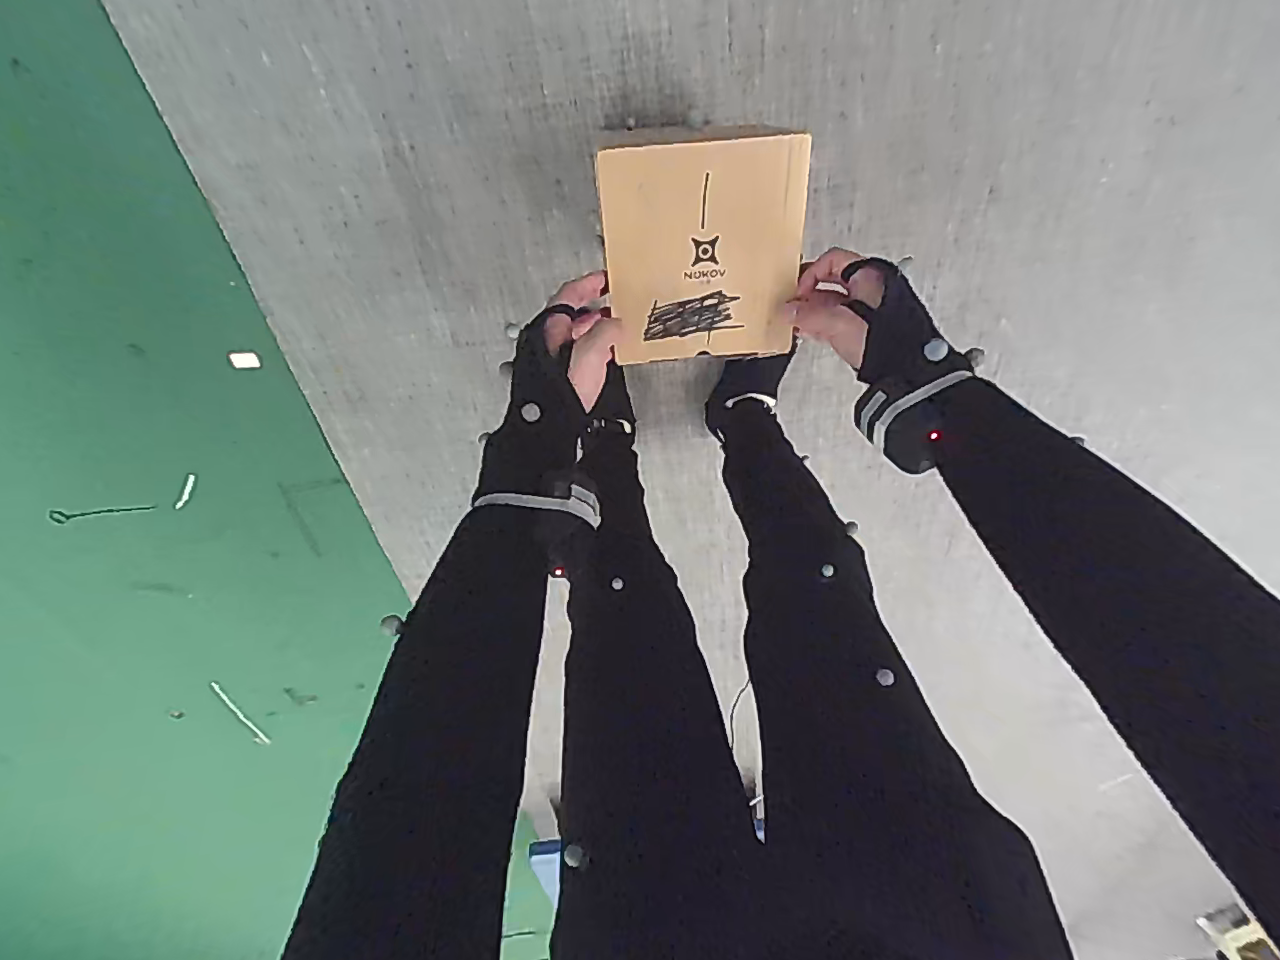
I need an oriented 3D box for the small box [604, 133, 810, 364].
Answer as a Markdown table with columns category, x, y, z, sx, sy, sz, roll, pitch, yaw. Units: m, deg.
| category | x | y | z | sx | sy | sz | roll | pitch | yaw |
| --- | --- | --- | --- | --- | --- | --- | --- | --- | --- |
| small box | 0.055 | -0.233 | 0.538 | 0.168 | 0.176 | 0.179 | -4 | 125 | 0 |
